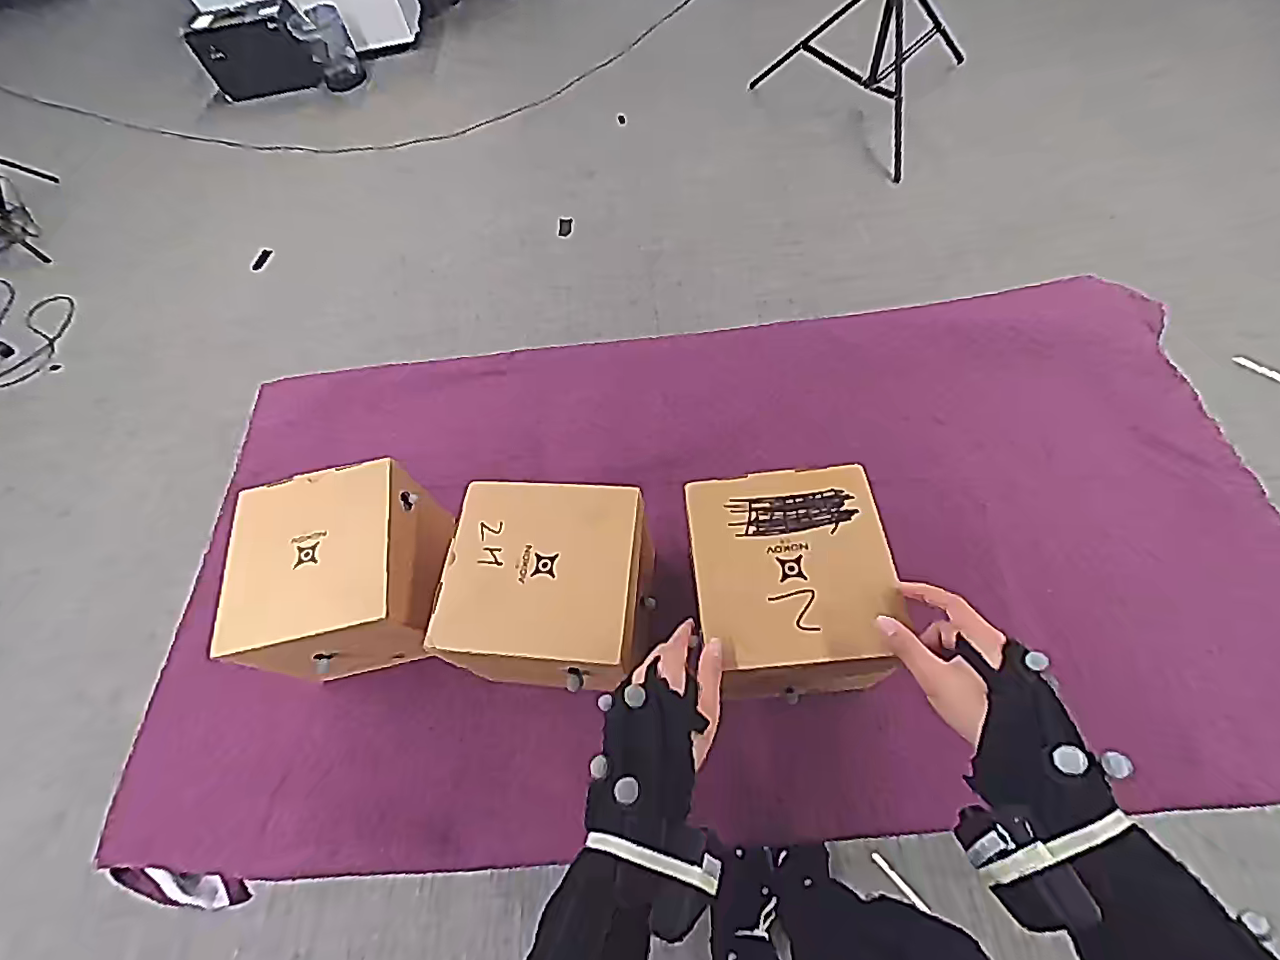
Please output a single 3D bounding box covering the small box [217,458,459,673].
[{"bbox_3d":[-0.313,0.105,0.599,0.168,0.176,0.179,-14,61,0],"label":"small box"}]
